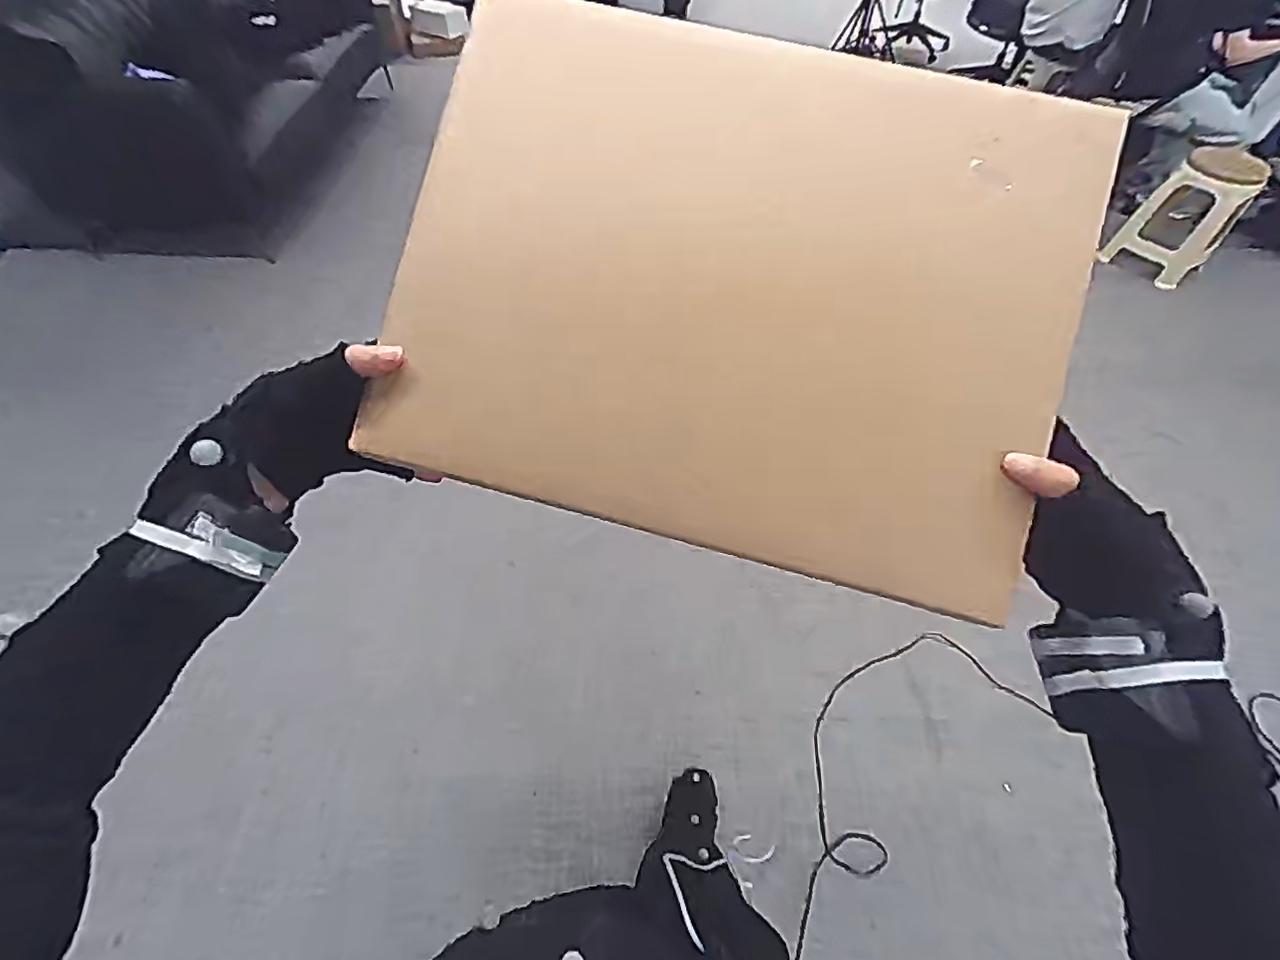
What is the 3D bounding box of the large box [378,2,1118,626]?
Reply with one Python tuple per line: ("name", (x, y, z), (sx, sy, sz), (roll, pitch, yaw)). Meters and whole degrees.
("large box", (0.067, -0.104, 0.481), (0.408, 0.320, 0.320), (16, 89, 5))
